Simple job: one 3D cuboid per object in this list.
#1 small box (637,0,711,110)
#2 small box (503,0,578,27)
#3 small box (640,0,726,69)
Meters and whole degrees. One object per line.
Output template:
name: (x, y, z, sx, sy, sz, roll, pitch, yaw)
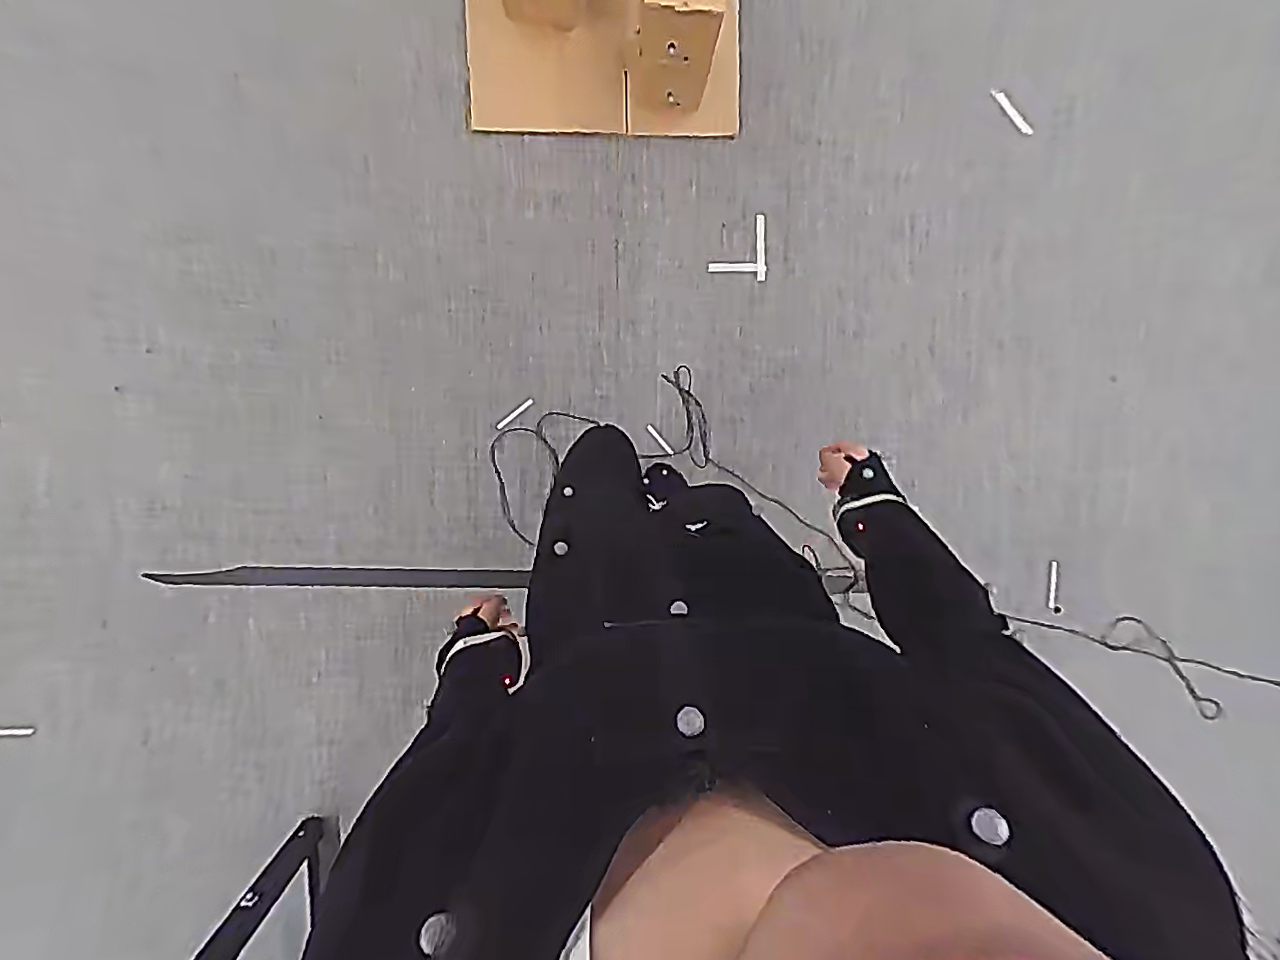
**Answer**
small box: (0.078, -1.046, 1.318, 0.168, 0.176, 0.179, 0, 95, -3)
small box: (-0.239, -1.229, 1.283, 0.179, 0.176, 0.168, 8, 94, -3)
small box: (0.089, -1.034, 1.156, 0.168, 0.176, 0.179, 3, 95, -4)
